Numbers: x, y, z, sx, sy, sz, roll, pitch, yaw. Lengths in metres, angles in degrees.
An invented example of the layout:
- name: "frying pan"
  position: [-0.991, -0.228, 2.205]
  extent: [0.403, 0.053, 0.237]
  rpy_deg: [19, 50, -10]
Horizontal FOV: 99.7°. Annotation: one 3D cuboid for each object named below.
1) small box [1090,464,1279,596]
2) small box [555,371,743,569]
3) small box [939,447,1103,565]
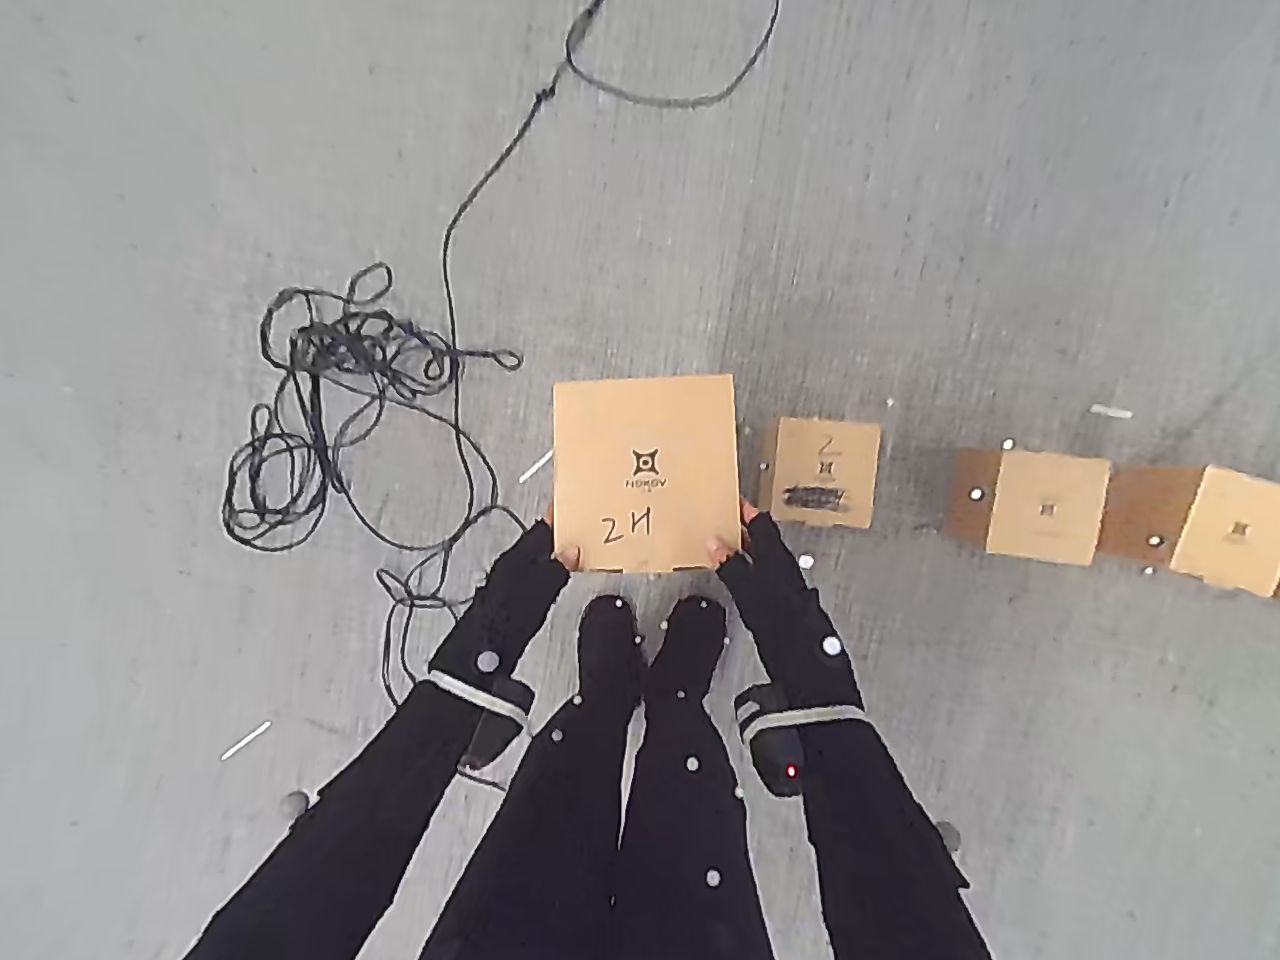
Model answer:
- name: "small box"
  position: [0.940, 0.075, 0.937]
  extent: [0.168, 0.176, 0.179]
  rpy_deg: [16, 95, 3]
- name: "small box"
  position: [0.011, 0.000, 0.556]
  extent: [0.168, 0.176, 0.179]
  rpy_deg: [-3, 83, 5]
- name: "small box"
  position: [0.658, 0.036, 0.955]
  extent: [0.168, 0.176, 0.179]
  rpy_deg: [7, 95, 6]
